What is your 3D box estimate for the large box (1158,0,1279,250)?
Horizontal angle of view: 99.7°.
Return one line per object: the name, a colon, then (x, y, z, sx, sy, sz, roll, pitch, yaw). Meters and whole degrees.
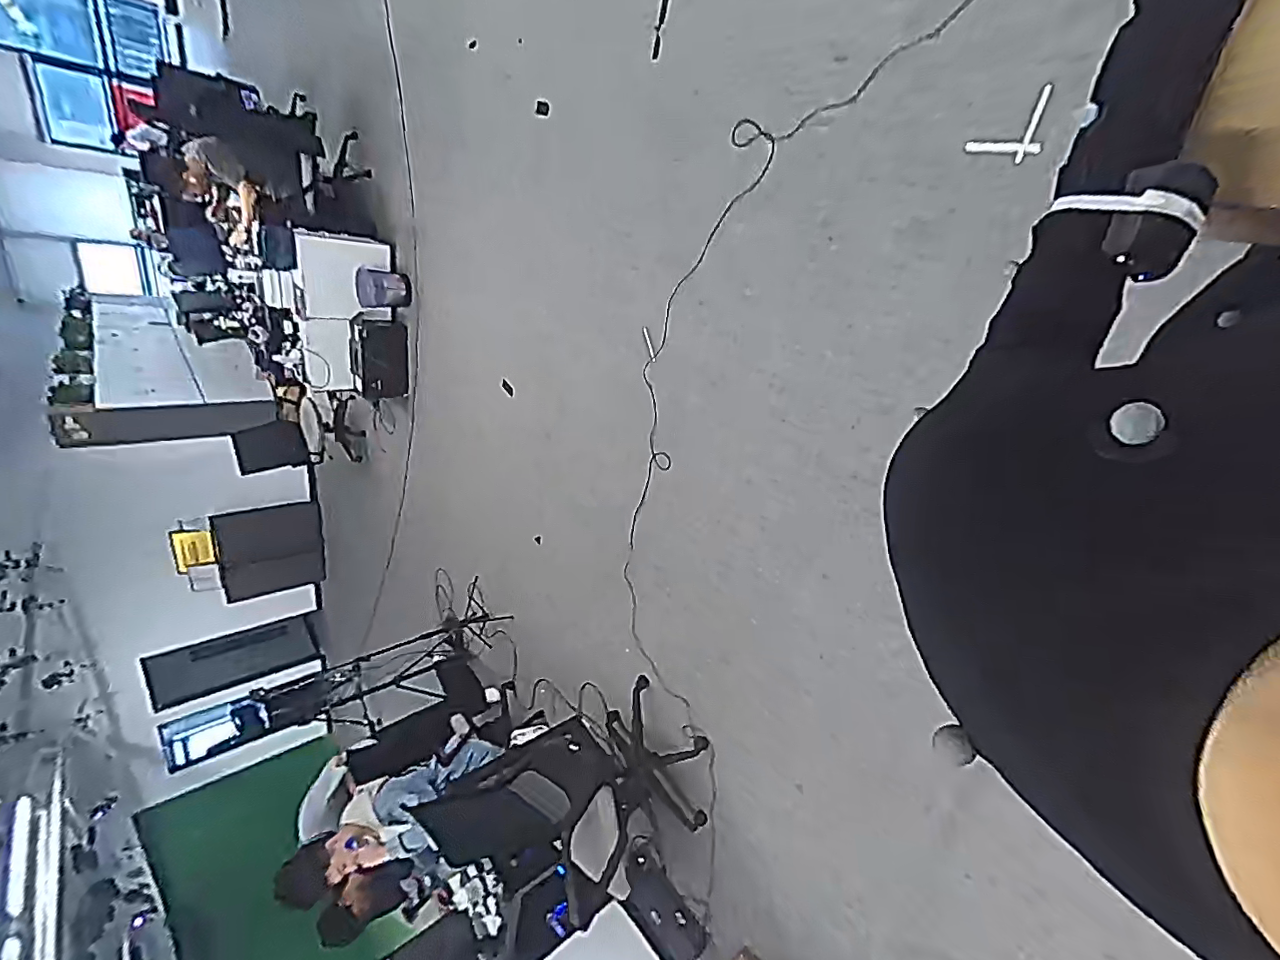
large box: (0.650, -0.317, 0.337, 0.408, 0.320, 0.320, 25, 120, 38)
